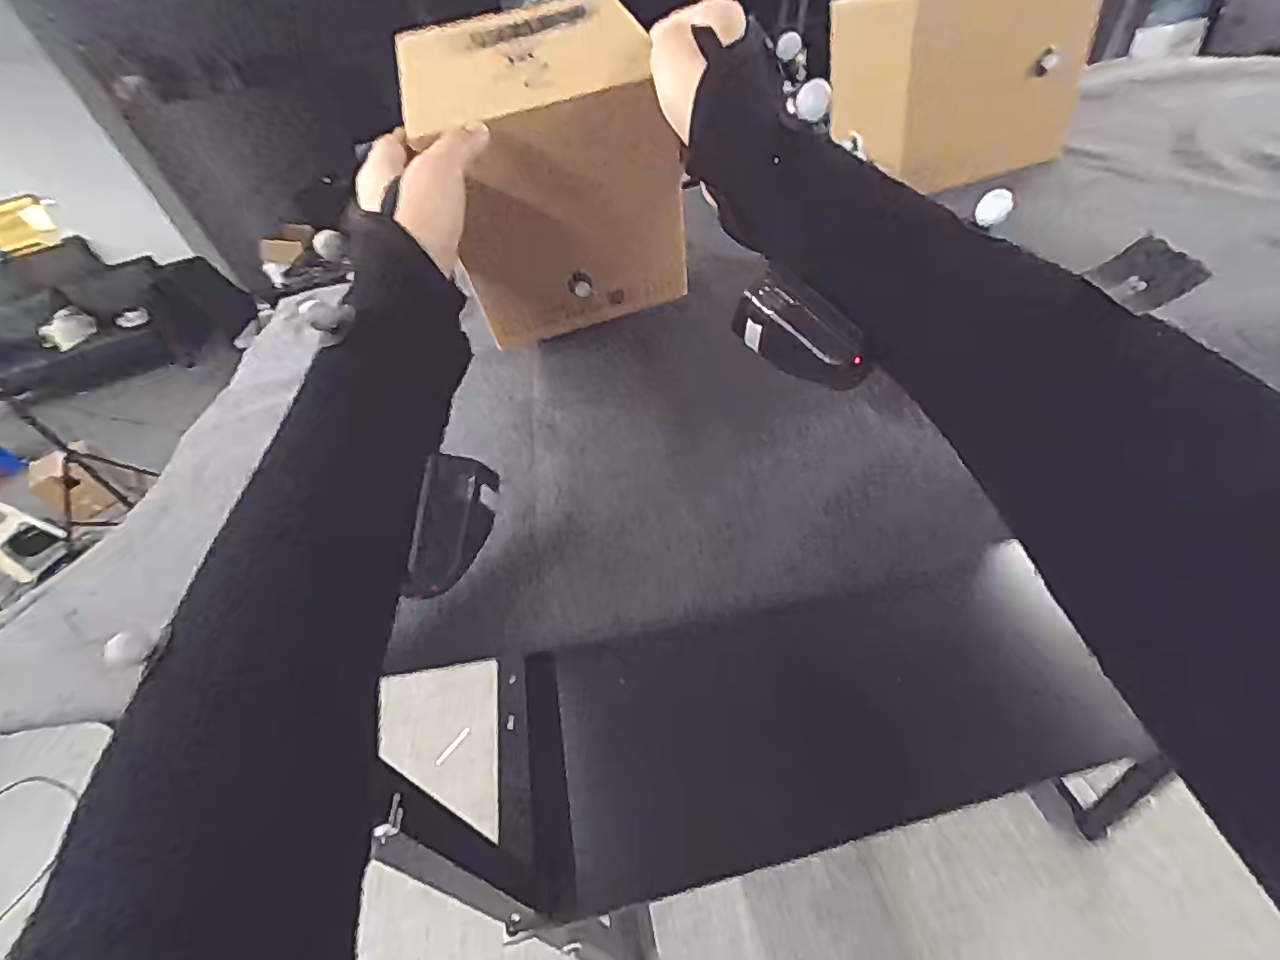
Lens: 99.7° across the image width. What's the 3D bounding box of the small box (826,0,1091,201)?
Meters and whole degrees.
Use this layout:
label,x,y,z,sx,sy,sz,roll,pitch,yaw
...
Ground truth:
label,x,y,z,sx,sy,sz,roll,pitch,yaw
small box,0.309,-0.415,0.562,0.179,0.176,0.168,-15,40,0
